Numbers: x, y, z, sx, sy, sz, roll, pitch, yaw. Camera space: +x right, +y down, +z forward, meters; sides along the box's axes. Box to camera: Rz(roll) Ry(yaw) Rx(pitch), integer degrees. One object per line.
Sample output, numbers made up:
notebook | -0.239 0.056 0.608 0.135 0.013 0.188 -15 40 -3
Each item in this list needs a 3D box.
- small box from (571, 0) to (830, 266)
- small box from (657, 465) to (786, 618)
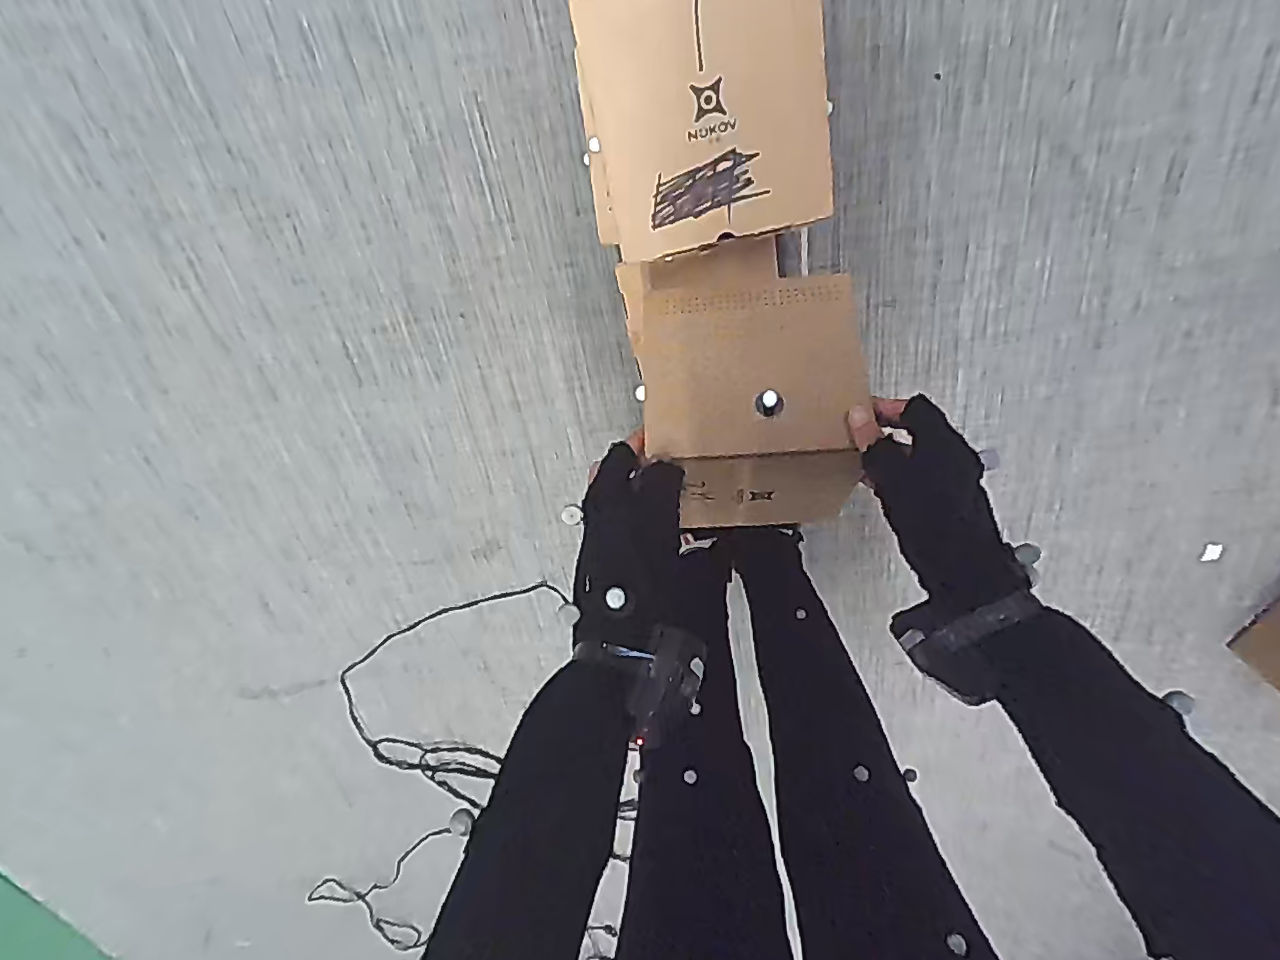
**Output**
small box | 0.055 -0.296 0.457 0.168 0.176 0.179 -9 115 9
small box | 0.122 0.095 0.877 0.168 0.176 0.179 -6 120 -5
